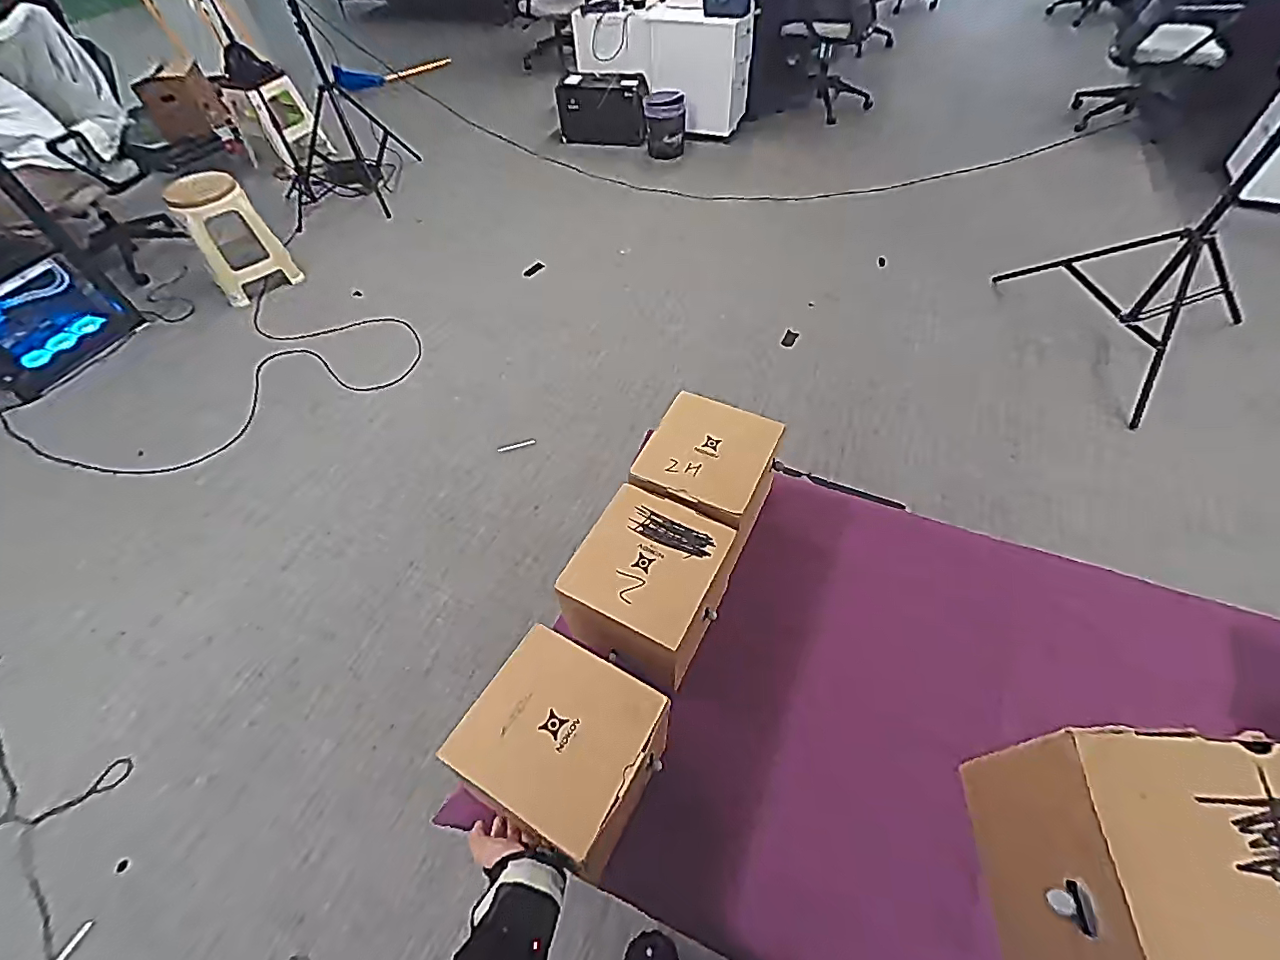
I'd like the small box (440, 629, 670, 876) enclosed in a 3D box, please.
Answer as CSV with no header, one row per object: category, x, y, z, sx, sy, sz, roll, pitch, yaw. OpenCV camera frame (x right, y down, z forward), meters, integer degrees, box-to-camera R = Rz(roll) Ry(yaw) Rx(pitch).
small box,-0.082,0.305,0.603,0.179,0.176,0.168,23,51,19

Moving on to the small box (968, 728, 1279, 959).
small box,0.306,0.244,0.287,0.168,0.176,0.179,-2,57,9

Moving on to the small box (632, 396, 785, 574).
small box,0.101,0.009,0.818,0.168,0.176,0.179,21,57,19
